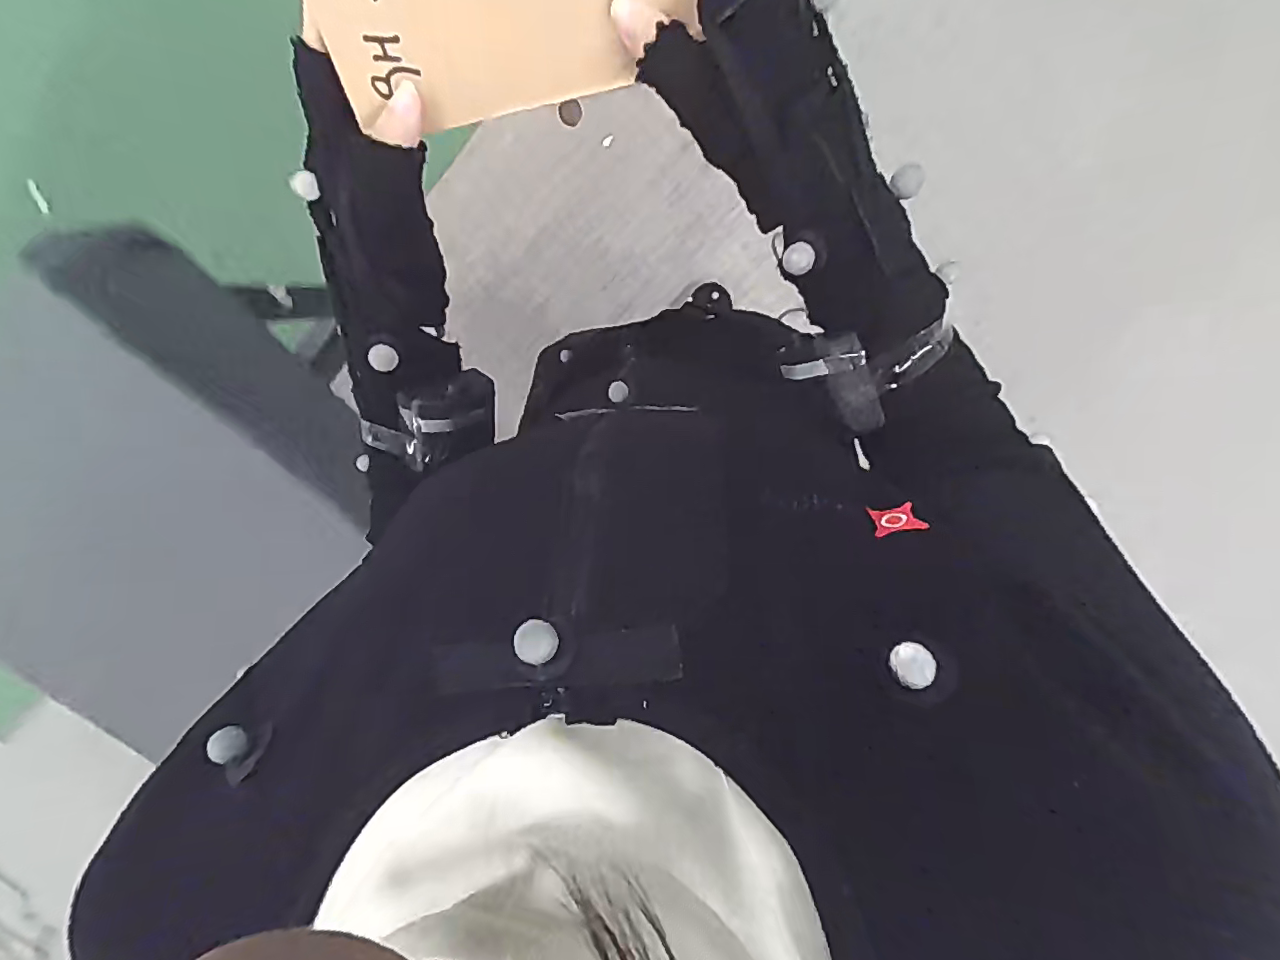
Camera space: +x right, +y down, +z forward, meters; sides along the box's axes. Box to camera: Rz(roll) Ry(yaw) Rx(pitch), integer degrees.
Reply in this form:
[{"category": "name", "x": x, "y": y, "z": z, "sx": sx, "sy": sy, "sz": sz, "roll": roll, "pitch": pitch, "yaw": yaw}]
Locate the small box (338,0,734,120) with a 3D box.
[{"category": "small box", "x": -0.055, "y": -0.300, "z": 0.273, "sx": 0.179, "sy": 0.176, "sz": 0.168, "roll": -7, "pitch": 127, "yaw": 6}]
